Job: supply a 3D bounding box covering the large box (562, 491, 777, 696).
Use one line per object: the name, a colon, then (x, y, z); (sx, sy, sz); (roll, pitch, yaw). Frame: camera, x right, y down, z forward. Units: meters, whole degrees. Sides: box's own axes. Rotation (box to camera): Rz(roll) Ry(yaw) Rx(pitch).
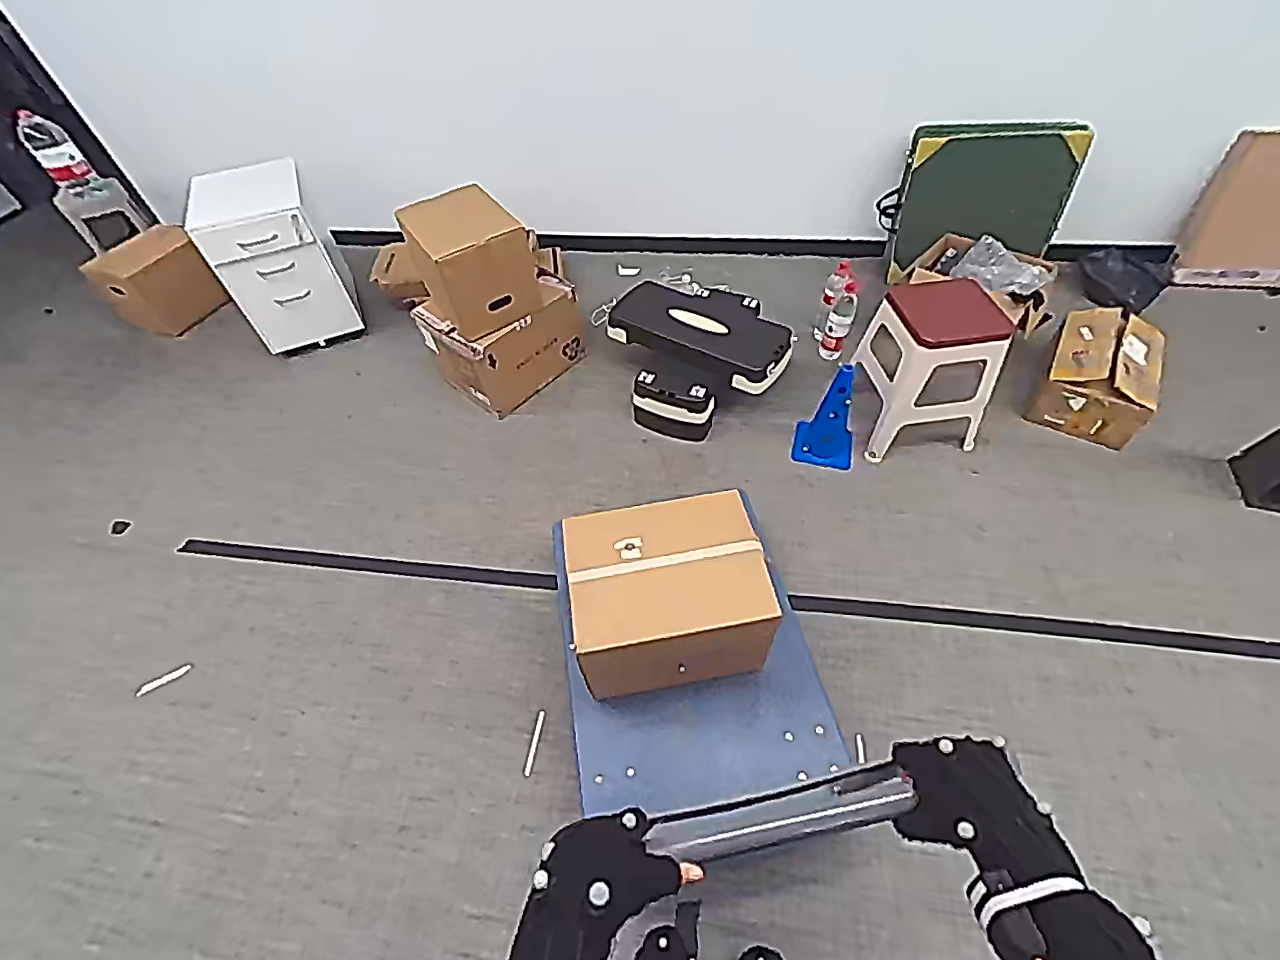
large box: (0.057, 0.267, 1.243); (0.408, 0.320, 0.320); (-10, 52, -3)
